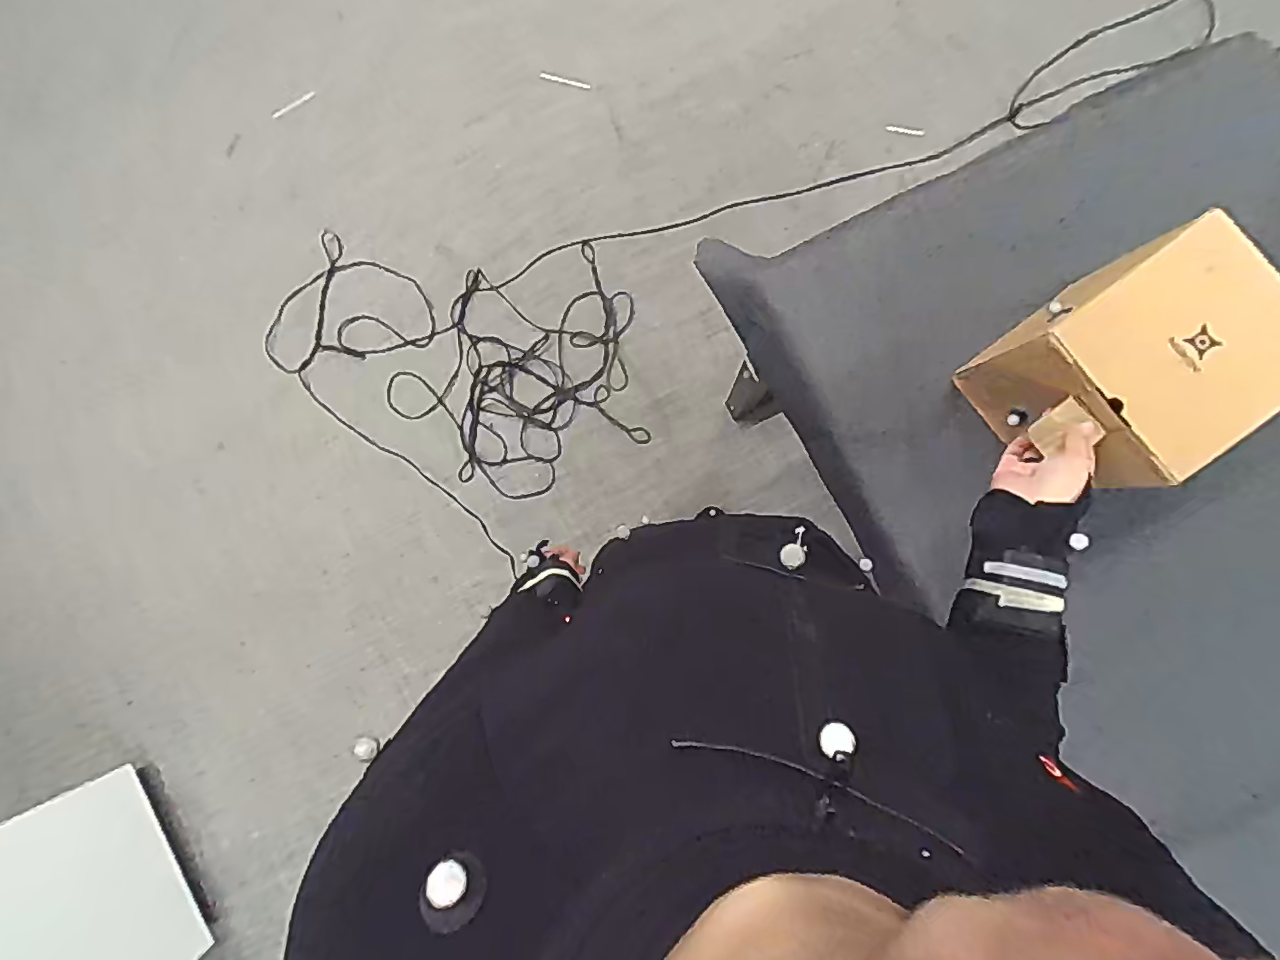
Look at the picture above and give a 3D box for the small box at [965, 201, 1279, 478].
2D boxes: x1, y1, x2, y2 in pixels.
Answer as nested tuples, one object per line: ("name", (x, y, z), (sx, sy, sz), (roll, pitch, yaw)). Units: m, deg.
("small box", (0.472, -0.117, 0.528), (0.179, 0.176, 0.168), (-38, 87, 3))
